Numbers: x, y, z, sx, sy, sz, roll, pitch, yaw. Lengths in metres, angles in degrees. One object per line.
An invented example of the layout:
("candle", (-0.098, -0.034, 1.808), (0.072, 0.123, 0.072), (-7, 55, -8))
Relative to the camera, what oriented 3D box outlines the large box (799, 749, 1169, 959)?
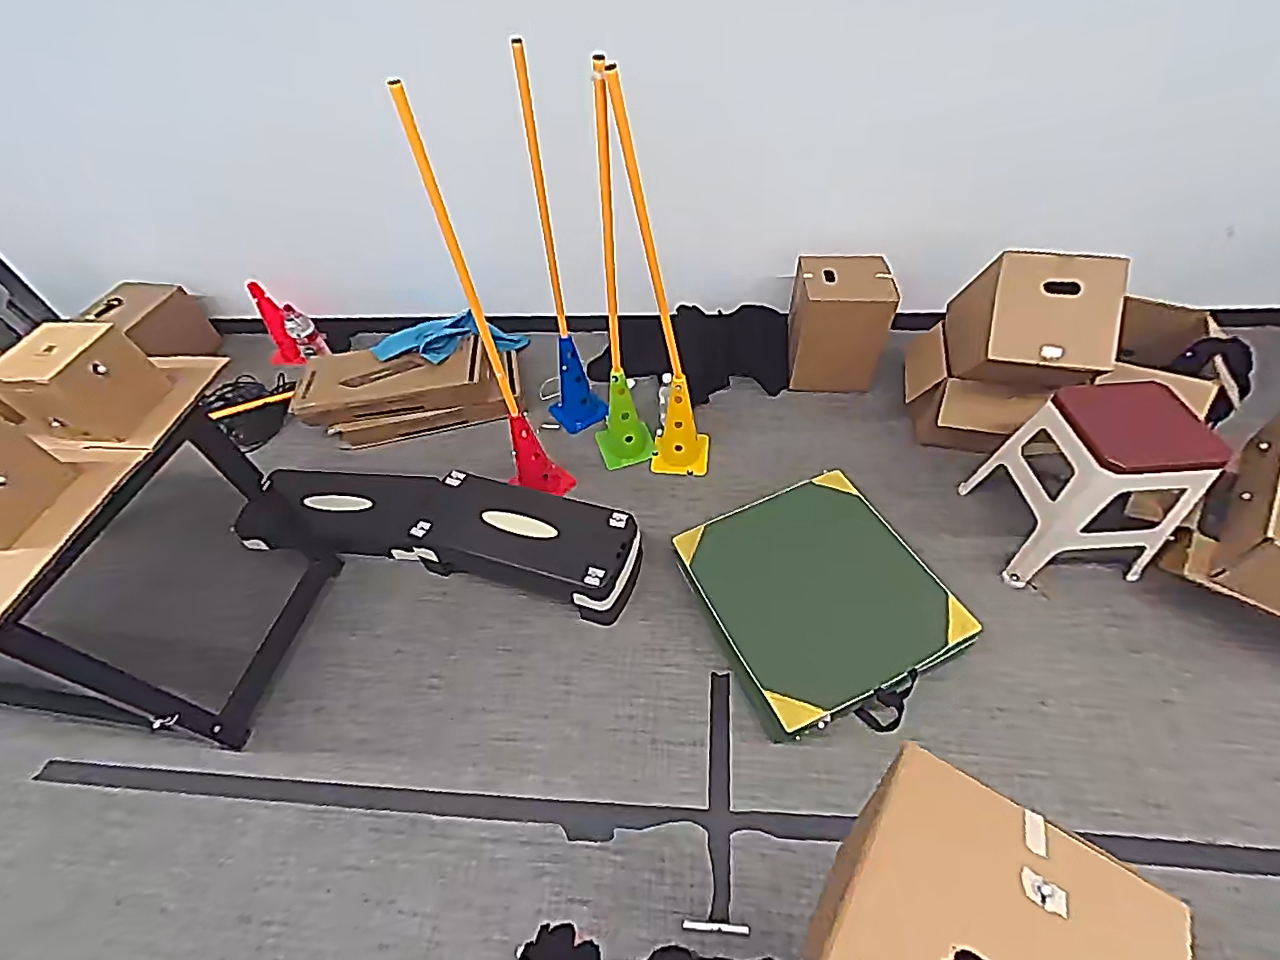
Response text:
("large box", (0.406, 0.657, 0.718), (0.320, 0.408, 0.320), (26, 45, 31))
